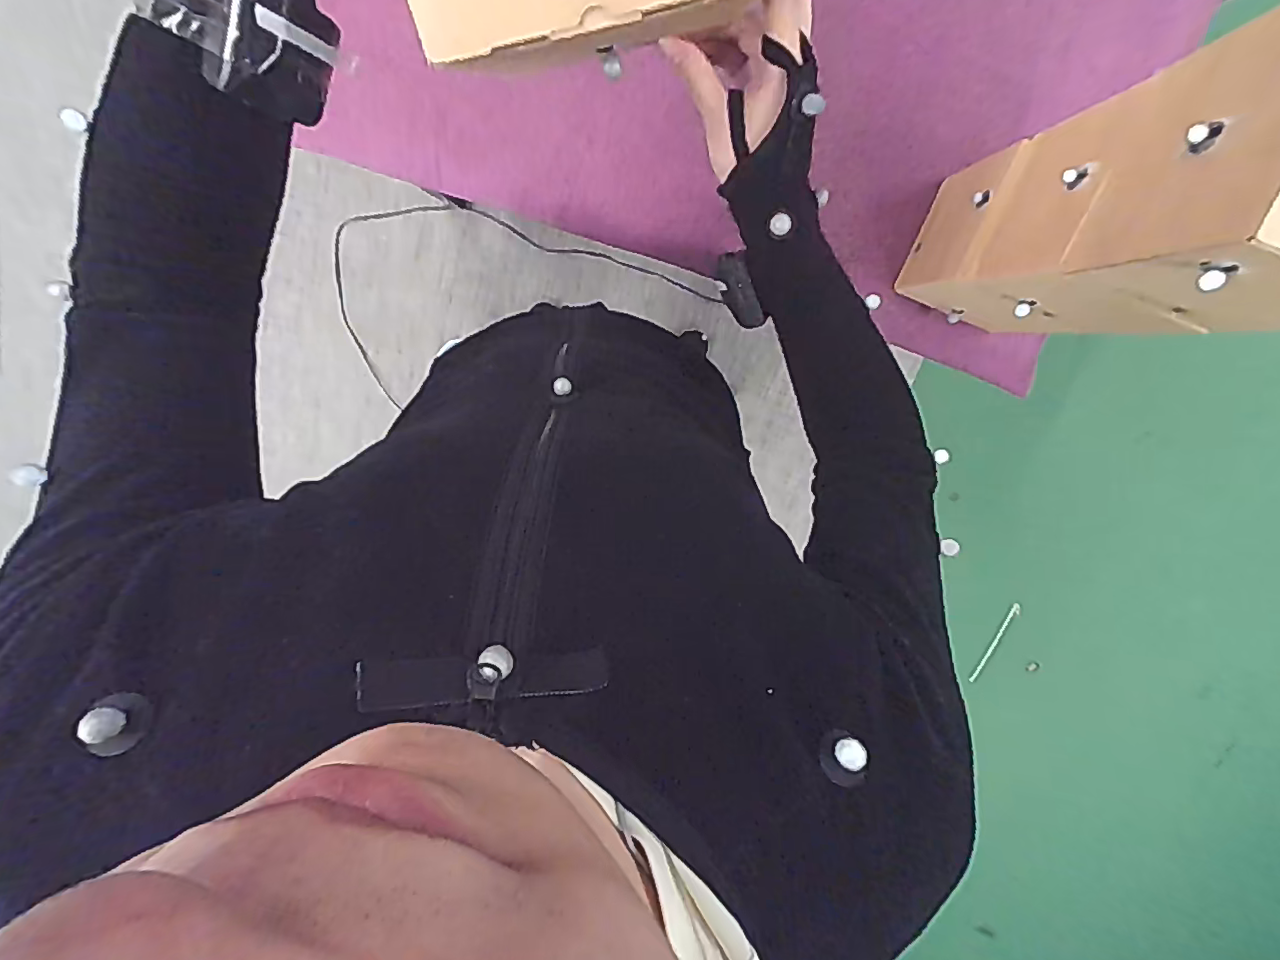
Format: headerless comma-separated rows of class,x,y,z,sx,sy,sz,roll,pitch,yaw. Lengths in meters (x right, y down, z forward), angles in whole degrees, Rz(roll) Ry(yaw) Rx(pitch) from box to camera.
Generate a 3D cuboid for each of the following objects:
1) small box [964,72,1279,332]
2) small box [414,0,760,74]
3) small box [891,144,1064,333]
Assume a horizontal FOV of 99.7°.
small box,0.490,-0.269,0.572,0.168,0.176,0.179,21,104,-5
small box,-0.033,-0.327,0.271,0.168,0.176,0.179,-7,125,6
small box,0.484,-0.310,0.730,0.179,0.176,0.168,20,103,-7
